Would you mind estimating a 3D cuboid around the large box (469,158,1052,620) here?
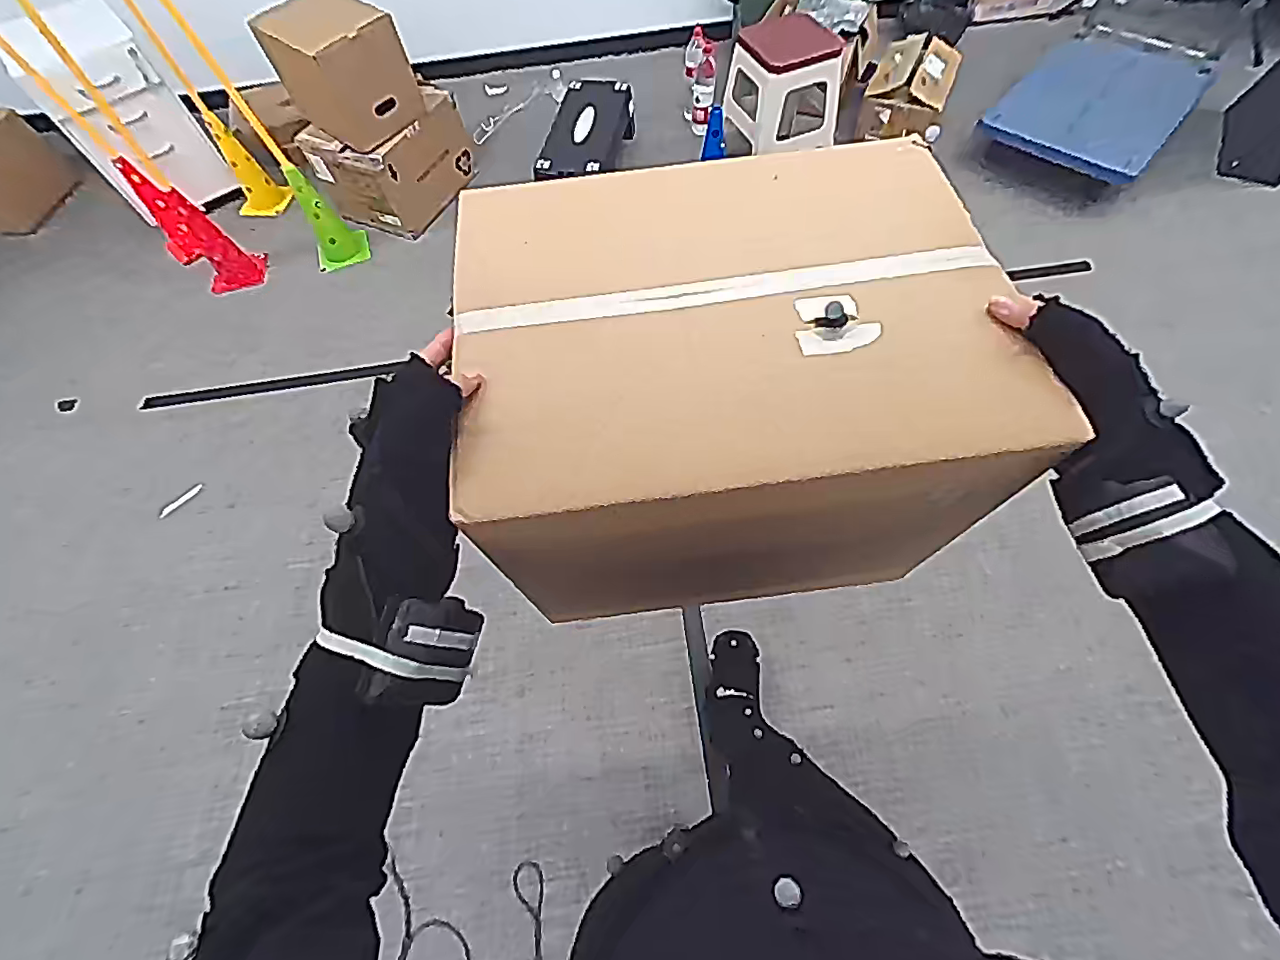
[{"bbox_3d":[0.069,-0.068,0.557,0.408,0.320,0.320,-8,63,-1],"label":"large box"}]
